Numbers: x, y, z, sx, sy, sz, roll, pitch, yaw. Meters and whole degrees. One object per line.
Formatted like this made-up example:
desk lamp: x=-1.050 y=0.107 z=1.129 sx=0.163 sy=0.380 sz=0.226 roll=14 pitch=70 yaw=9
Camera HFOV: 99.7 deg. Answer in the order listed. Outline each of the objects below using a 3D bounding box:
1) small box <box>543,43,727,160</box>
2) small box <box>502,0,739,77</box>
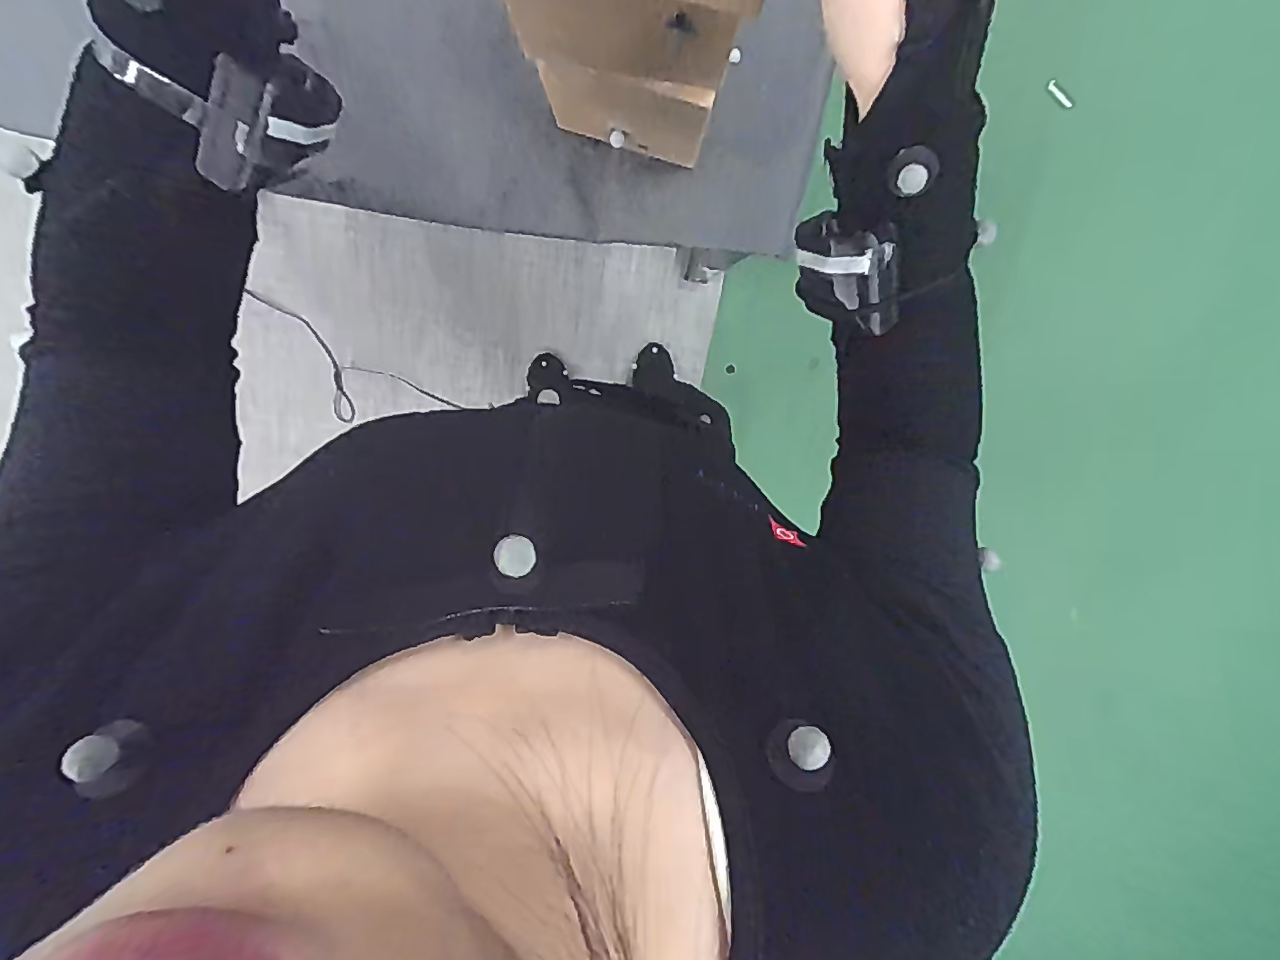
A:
small box: x=0.005 y=-0.450 z=0.524 sx=0.168 sy=0.176 sz=0.179 roll=15 pitch=104 yaw=-3
small box: x=-0.006 y=-0.412 z=0.367 sx=0.179 sy=0.176 sz=0.168 roll=8 pitch=103 yaw=0
